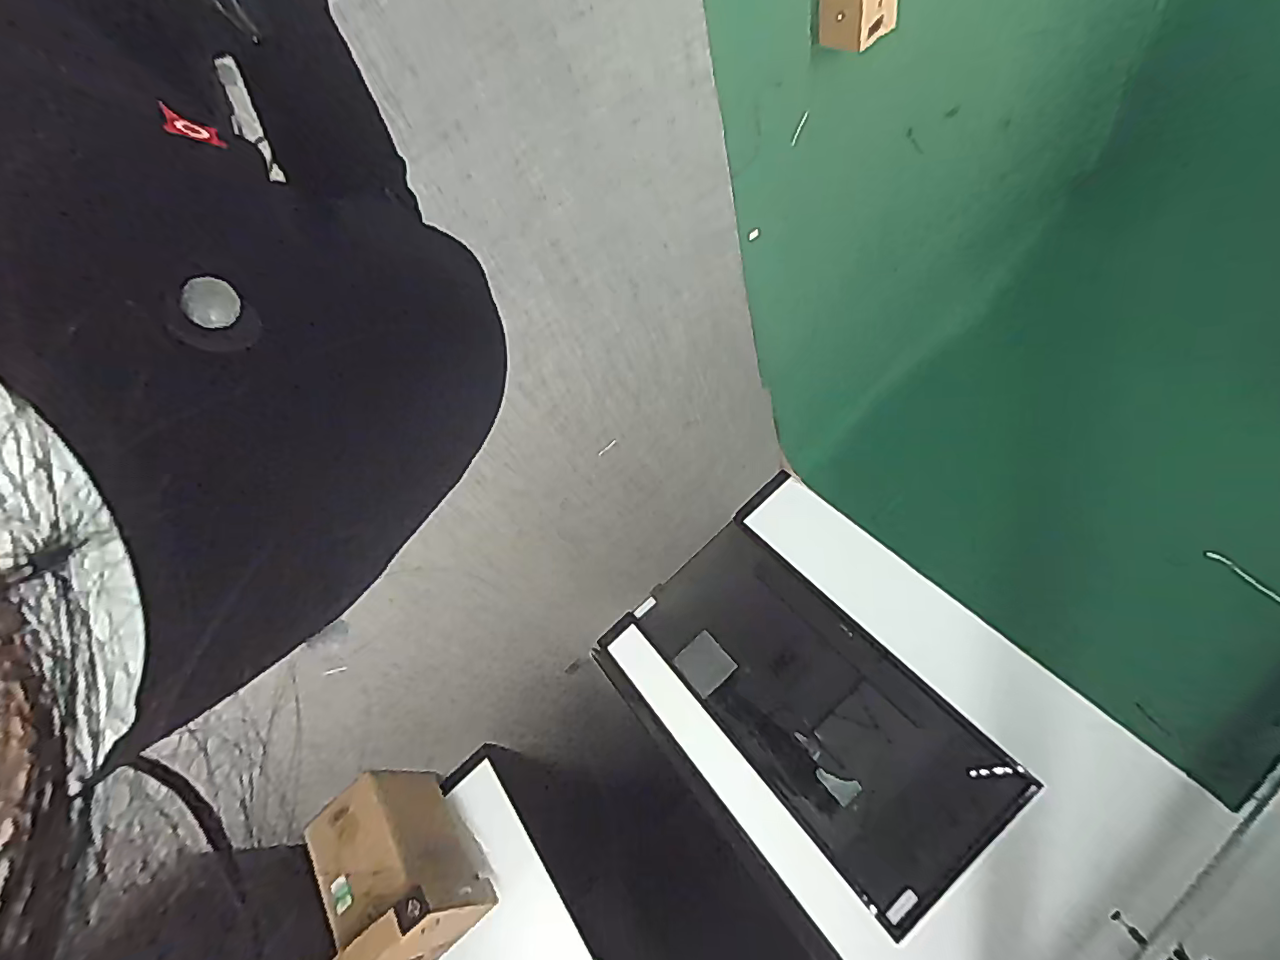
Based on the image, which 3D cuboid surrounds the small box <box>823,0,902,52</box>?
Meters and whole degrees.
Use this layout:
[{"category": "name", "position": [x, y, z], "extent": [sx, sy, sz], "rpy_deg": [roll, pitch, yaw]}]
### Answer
[{"category": "small box", "position": [0.685, -1.477, 1.670], "extent": [0.168, 0.176, 0.179], "rpy_deg": [-40, 146, -8]}]
